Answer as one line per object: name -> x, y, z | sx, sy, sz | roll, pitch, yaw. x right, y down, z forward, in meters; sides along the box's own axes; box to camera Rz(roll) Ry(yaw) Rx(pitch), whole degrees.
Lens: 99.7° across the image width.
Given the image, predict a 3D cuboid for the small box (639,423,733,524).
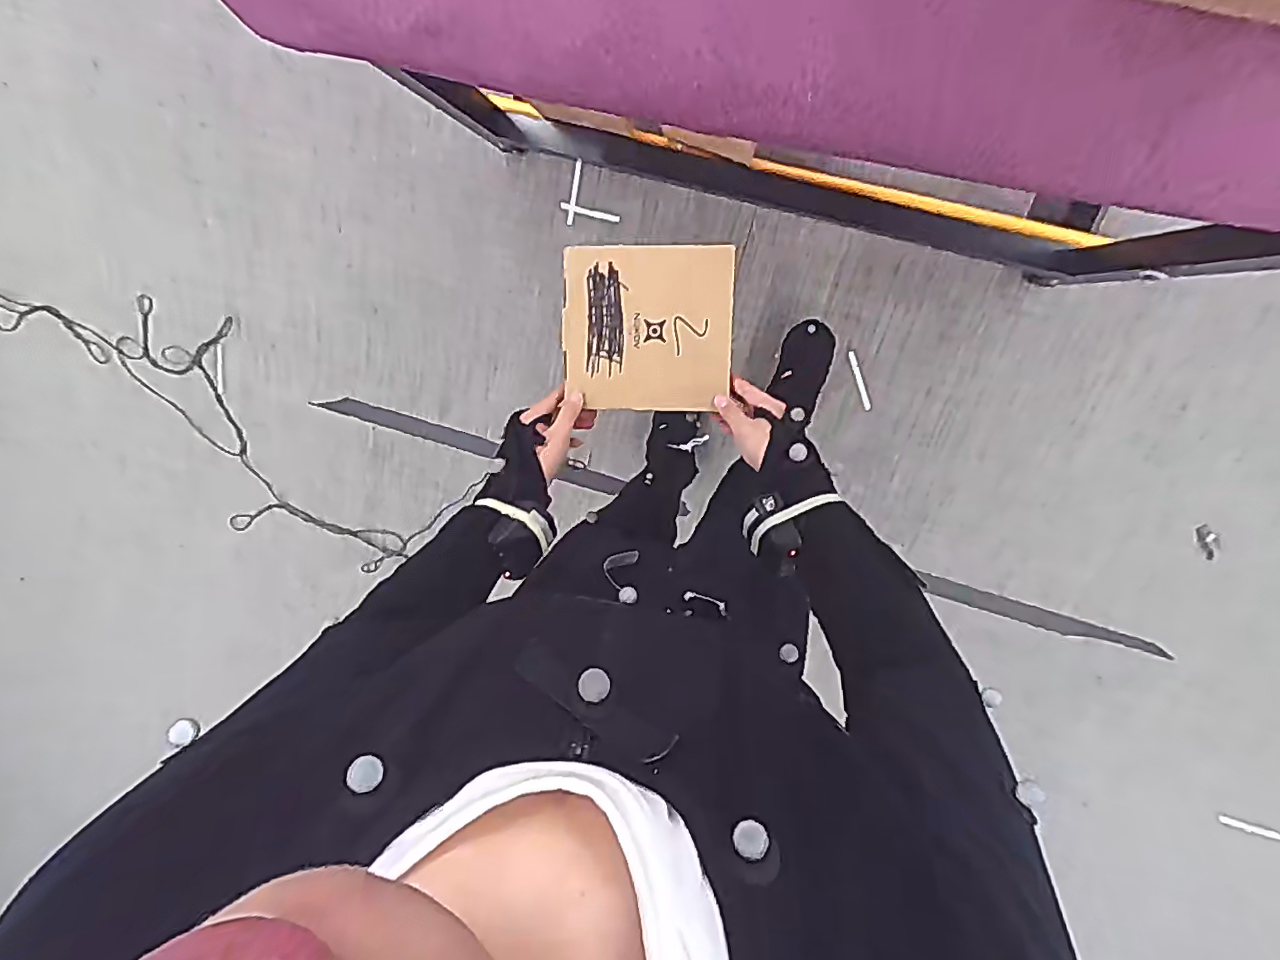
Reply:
small box -> 0.100, -0.019, 1.227 | 0.179, 0.176, 0.168 | 16, 107, 0
